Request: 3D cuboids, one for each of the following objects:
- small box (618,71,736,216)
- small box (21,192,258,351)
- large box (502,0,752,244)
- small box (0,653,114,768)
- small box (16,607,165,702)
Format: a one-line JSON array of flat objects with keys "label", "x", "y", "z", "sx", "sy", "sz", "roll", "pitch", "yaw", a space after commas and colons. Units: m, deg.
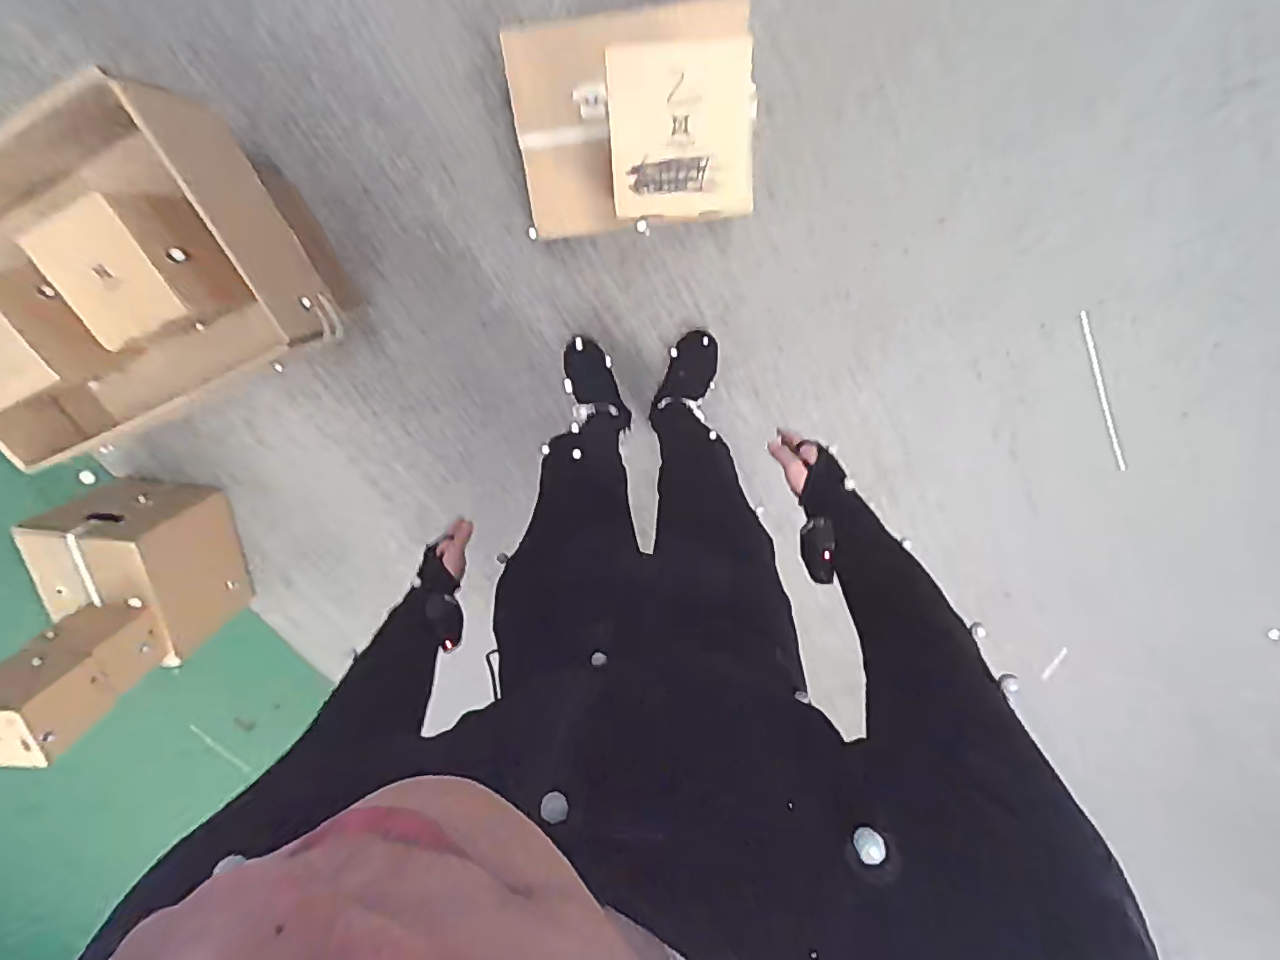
[{"label": "small box", "x": 0.057, "y": -0.520, "z": 0.855, "sx": 0.168, "sy": 0.176, "sz": 0.179, "roll": -2, "pitch": 117, "yaw": 3}, {"label": "small box", "x": -0.771, "y": -0.330, "z": 0.857, "sx": 0.168, "sy": 0.176, "sz": 0.179, "roll": -20, "pitch": 115, "yaw": 11}, {"label": "large box", "x": -0.004, "y": -0.663, "z": 1.061, "sx": 0.408, "sy": 0.320, "sz": 0.320, "roll": -5, "pitch": 115, "yaw": 5}, {"label": "small box", "x": -1.360, "y": 0.509, "z": 1.211, "sx": 0.179, "sy": 0.176, "sz": 0.168, "roll": 5, "pitch": 115, "yaw": 0}, {"label": "small box", "x": -1.366, "y": 0.438, "z": 1.359, "sx": 0.179, "sy": 0.176, "sz": 0.168, "roll": 5, "pitch": 116, "yaw": -2}]
